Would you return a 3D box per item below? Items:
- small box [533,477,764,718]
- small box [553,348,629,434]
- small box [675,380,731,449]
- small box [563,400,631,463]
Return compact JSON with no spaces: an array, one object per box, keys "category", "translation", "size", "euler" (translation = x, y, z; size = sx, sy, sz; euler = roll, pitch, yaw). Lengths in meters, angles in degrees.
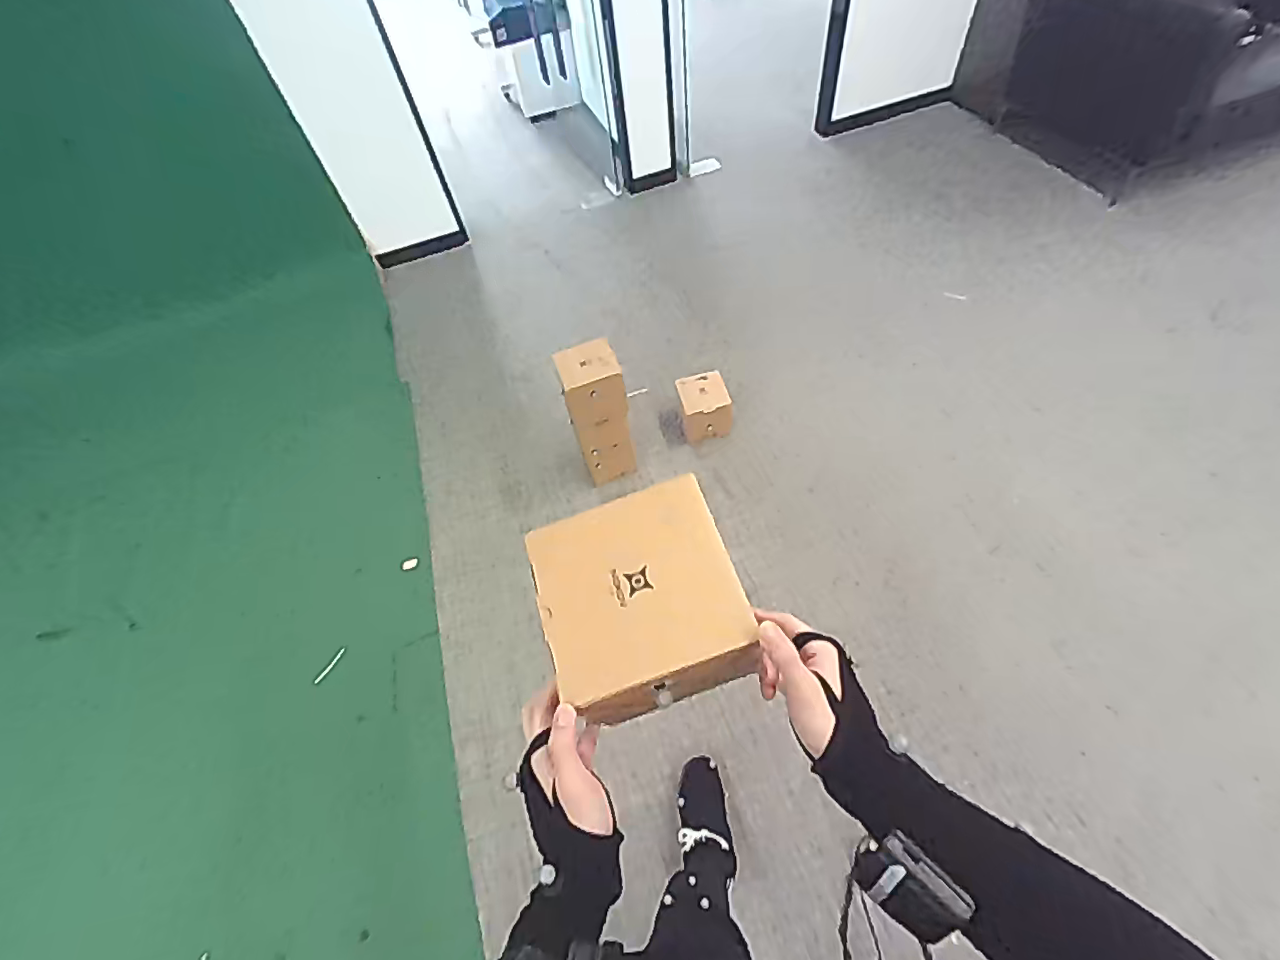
[{"category":"small box","translation":[0.013,0.128,0.553],"size":[0.179,0.176,0.168],"euler":[-21,59,1]},{"category":"small box","translation":[-0.147,-0.268,1.648],"size":[0.179,0.176,0.168],"euler":[-19,55,-7]},{"category":"small box","translation":[0.229,-0.232,1.979],"size":[0.168,0.176,0.179],"euler":[-13,55,-2]},{"category":"small box","translation":[-0.139,-0.178,1.787],"size":[0.168,0.176,0.179],"euler":[-21,54,-8]}]
